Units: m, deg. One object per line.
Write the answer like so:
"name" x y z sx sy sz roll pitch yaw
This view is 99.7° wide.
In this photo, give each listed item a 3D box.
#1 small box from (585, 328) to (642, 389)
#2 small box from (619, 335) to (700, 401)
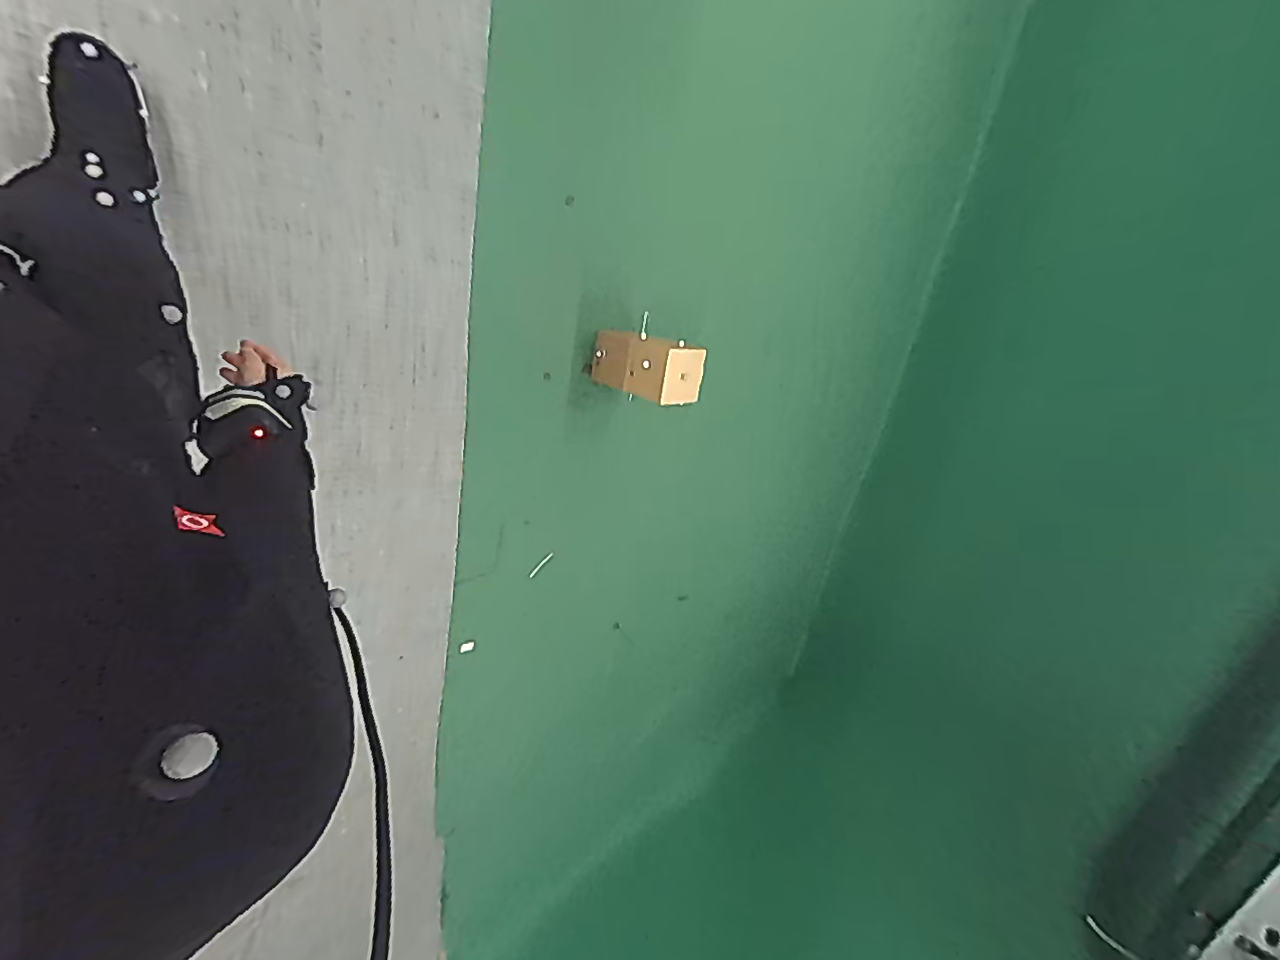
"small box" -0.055 -0.401 1.785 0.179 0.176 0.168 -11 119 -44
"small box" 0.057 -0.350 1.678 0.179 0.176 0.168 -13 121 -45
